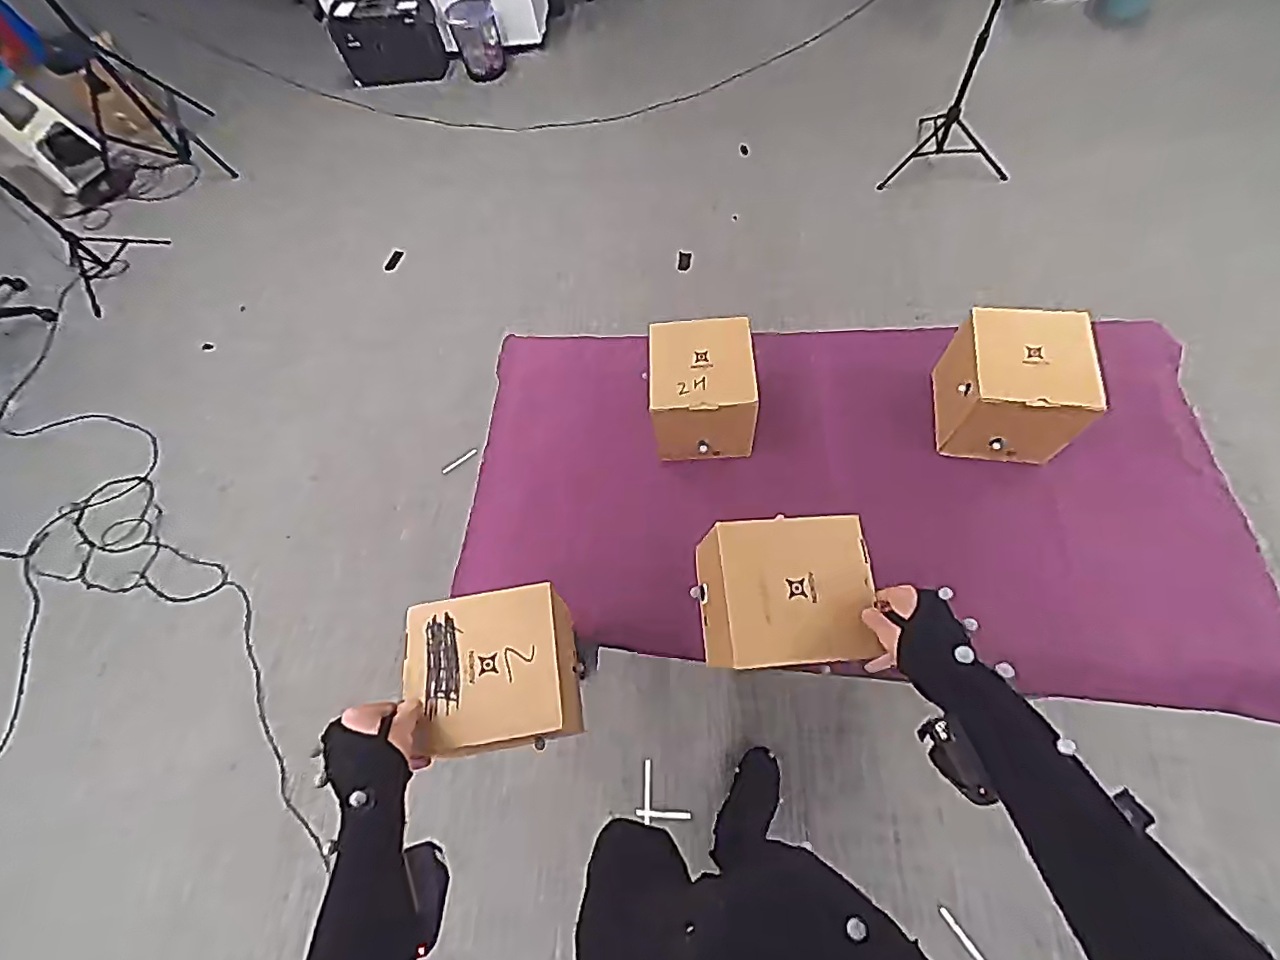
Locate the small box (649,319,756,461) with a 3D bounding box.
[{"bbox_3d":[0.103,-0.150,0.930,0.168,0.176,0.179,-3,63,6],"label":"small box"}]

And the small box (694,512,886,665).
[{"bbox_3d":[0.175,0.144,0.690,0.179,0.176,0.168,-3,70,-5],"label":"small box"}]

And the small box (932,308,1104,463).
[{"bbox_3d":[0.587,-0.148,0.869,0.168,0.176,0.179,6,65,11],"label":"small box"}]
